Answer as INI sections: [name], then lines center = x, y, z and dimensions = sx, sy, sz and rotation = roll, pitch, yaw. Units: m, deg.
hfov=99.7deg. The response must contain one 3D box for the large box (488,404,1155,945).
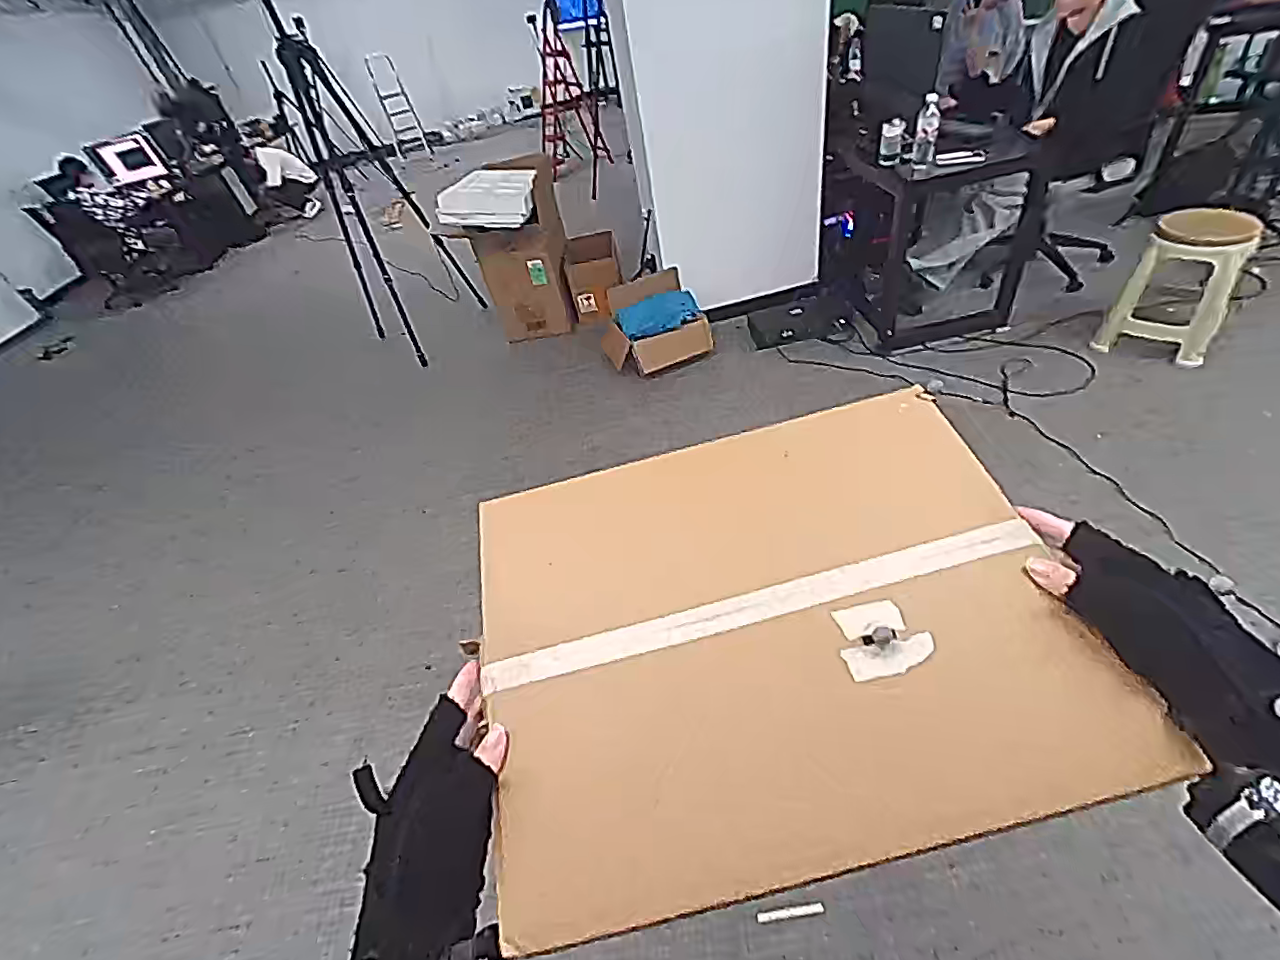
[large box]
center = 0.106, 0.185, 0.524
dimensions = 0.408, 0.320, 0.320
rotation = -15, 54, -1
